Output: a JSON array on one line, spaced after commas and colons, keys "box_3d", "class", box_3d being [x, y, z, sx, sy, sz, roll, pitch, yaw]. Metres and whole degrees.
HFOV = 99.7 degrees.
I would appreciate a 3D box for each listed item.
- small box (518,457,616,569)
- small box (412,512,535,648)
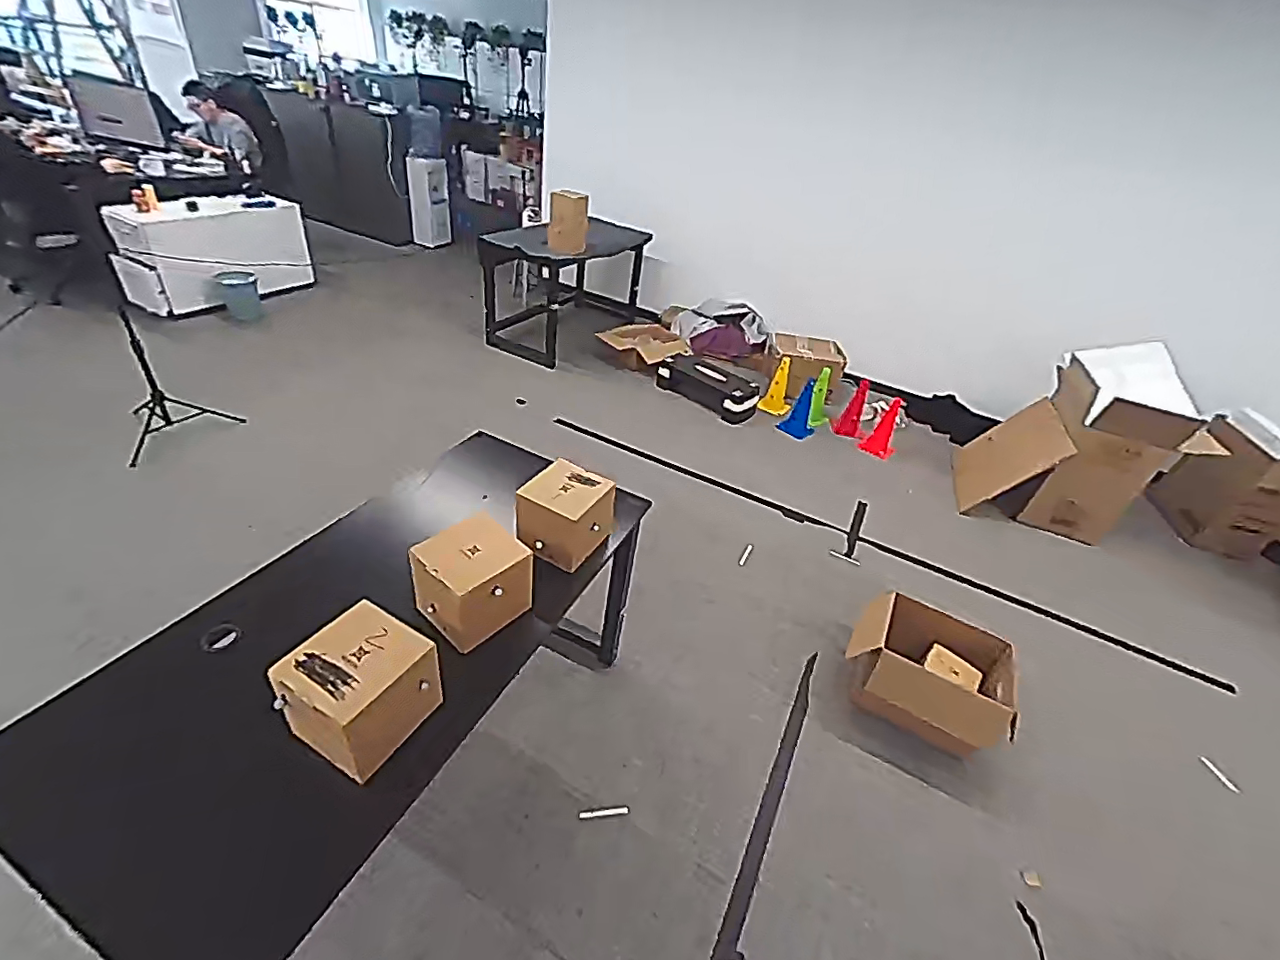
[{"box_3d": [-0.177, 0.077, 1.297, 0.168, 0.176, 0.179, 23, 40, 19], "class": "small box"}, {"box_3d": [-0.335, 0.201, 1.101, 0.168, 0.176, 0.179, 31, 42, 28], "class": "small box"}]
